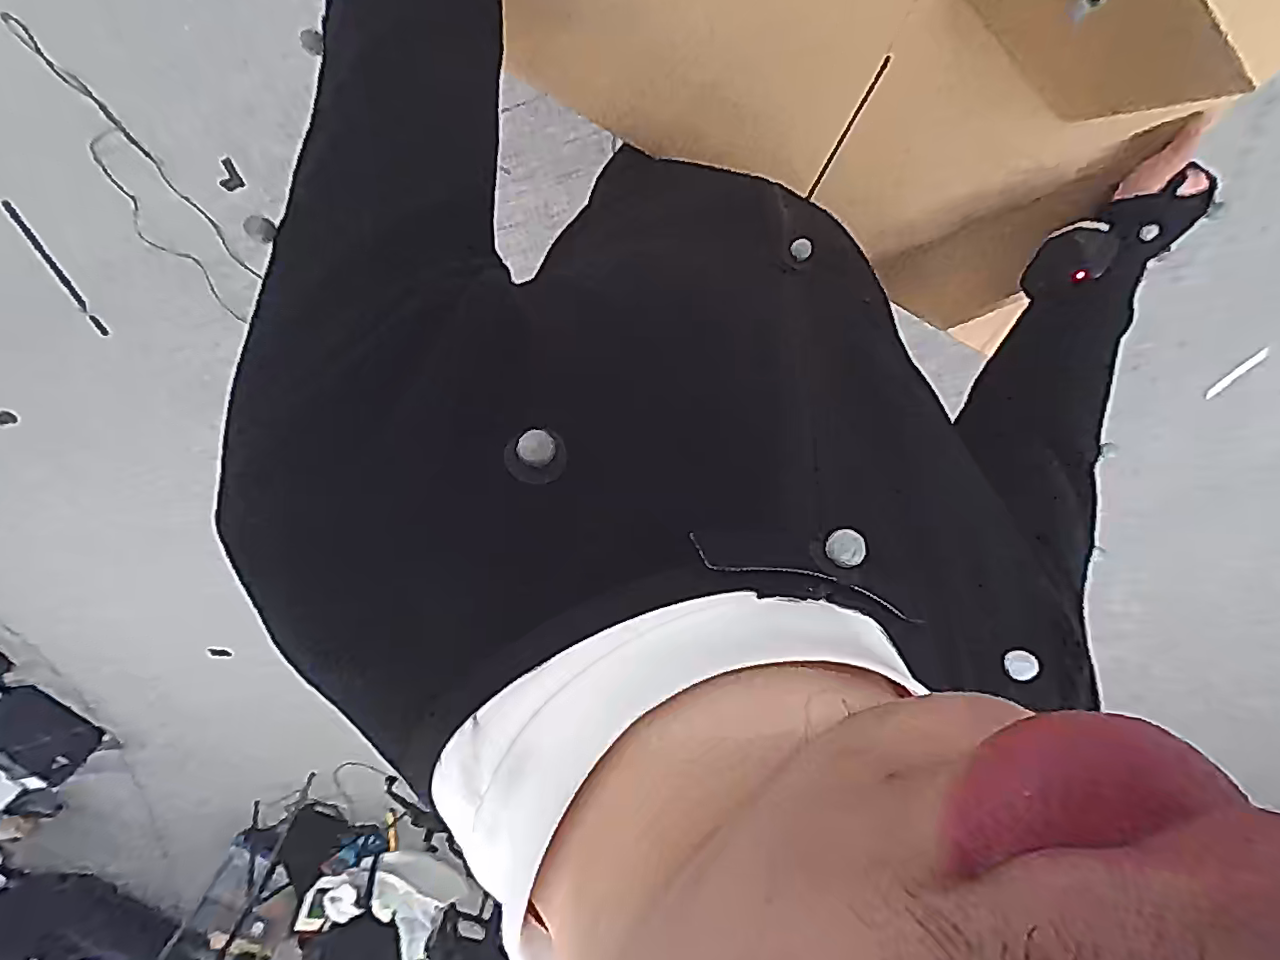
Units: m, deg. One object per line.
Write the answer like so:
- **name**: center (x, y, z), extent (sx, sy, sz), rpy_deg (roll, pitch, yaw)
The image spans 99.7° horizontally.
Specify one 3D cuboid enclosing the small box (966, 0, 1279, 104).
- **small box**: center (0.359, -0.396, 0.366), extent (0.179, 0.176, 0.168), rpy_deg (33, 112, -16)
